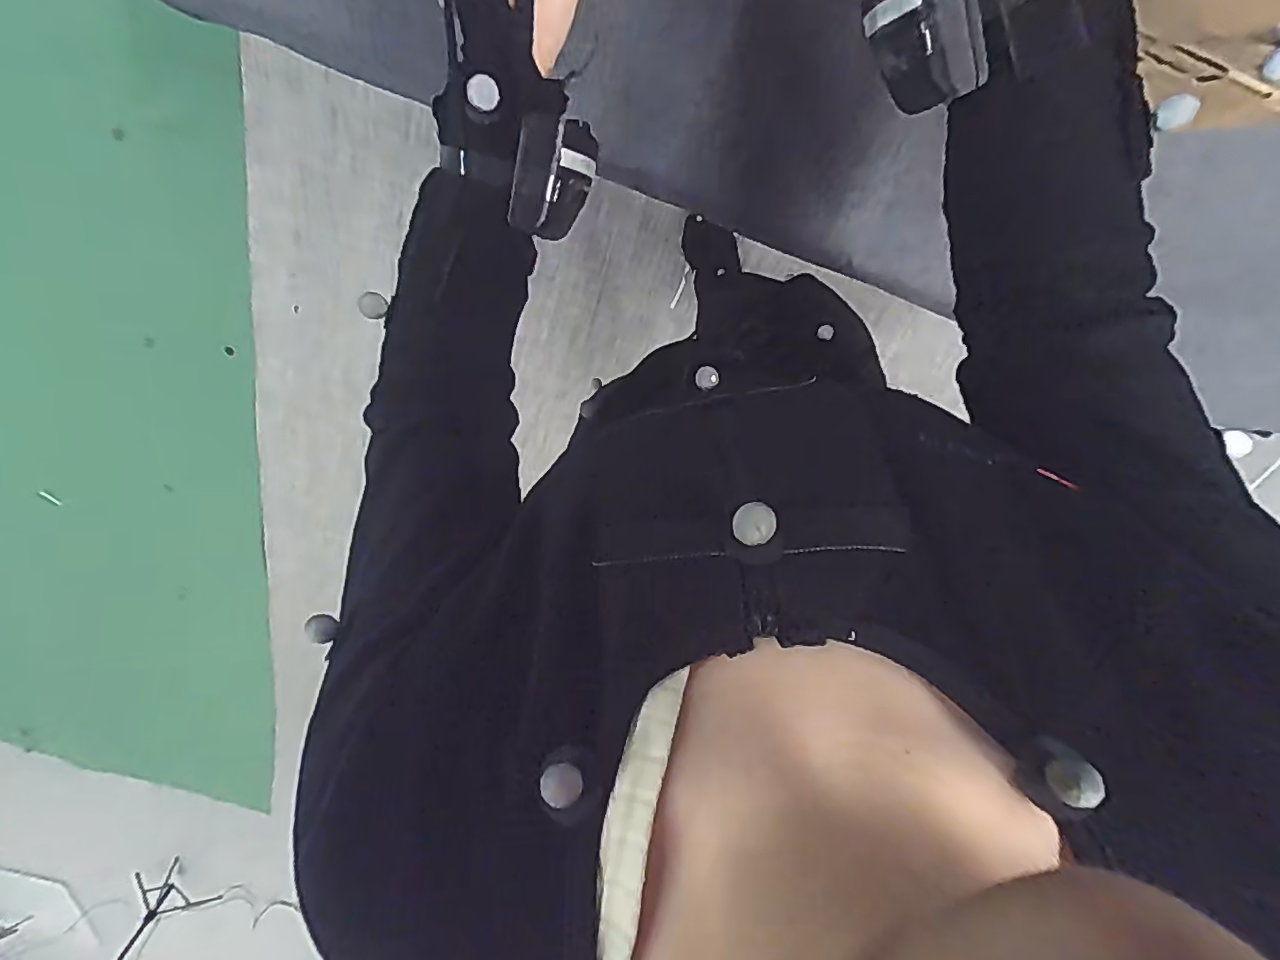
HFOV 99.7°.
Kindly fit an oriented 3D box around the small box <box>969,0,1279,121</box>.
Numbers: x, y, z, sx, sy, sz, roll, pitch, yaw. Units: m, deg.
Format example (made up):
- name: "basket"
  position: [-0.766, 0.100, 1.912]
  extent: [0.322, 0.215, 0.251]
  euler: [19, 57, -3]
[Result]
- name: "small box"
  position: [0.338, -0.344, 0.324]
  extent: [0.168, 0.176, 0.179]
  euler: [20, 120, -6]
